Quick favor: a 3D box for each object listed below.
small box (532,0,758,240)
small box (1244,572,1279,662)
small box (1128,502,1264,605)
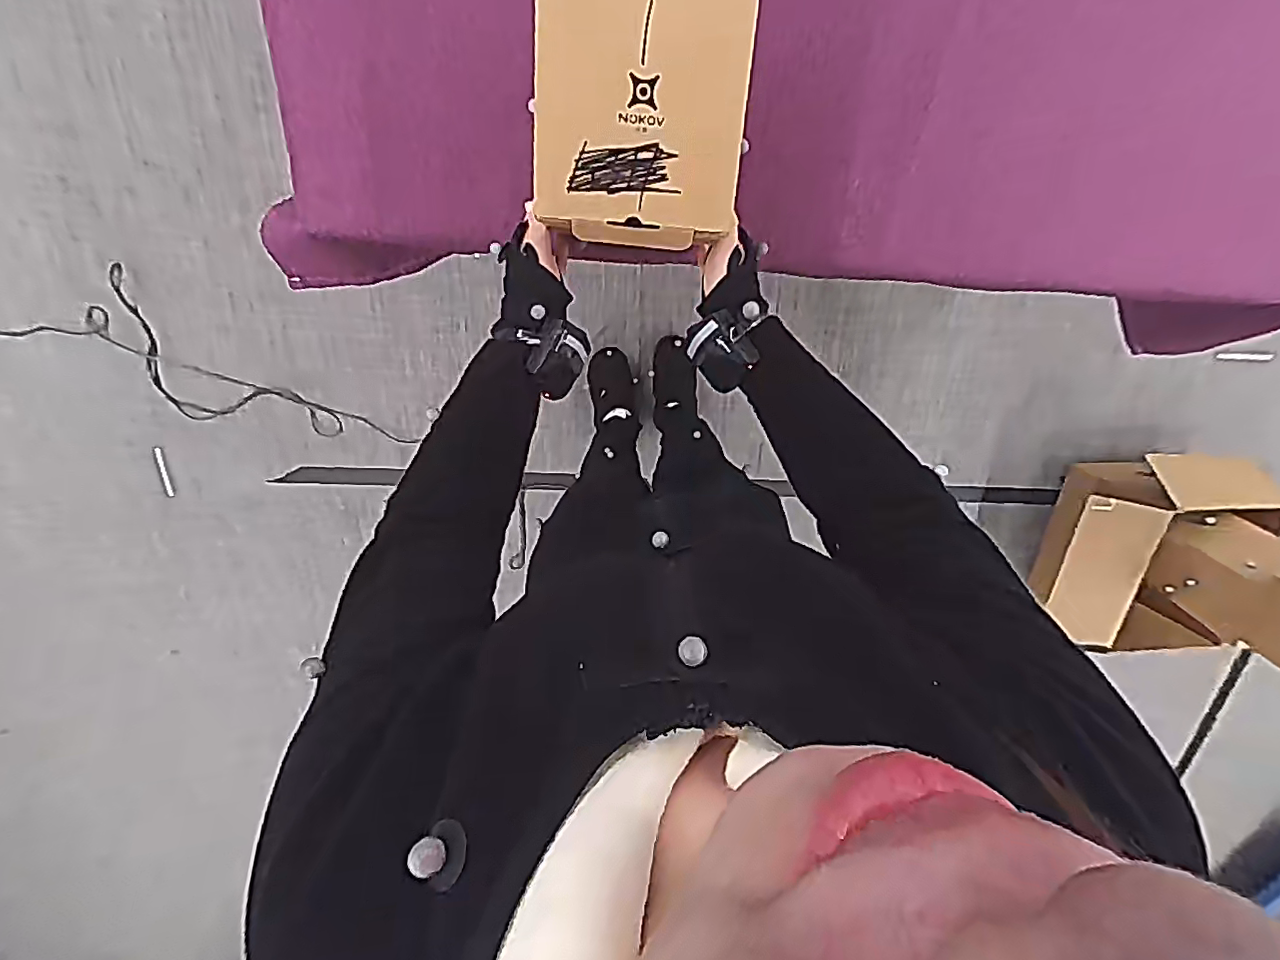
[{"bbox_3d":[-0.002,-0.321,0.491,0.168,0.176,0.179,3,110,-4],"label":"small box"},{"bbox_3d":[1.334,0.285,1.028,0.168,0.176,0.179,-4,115,4],"label":"small box"},{"bbox_3d":[1.360,0.172,1.338,0.168,0.176,0.179,-17,115,8],"label":"small box"}]
